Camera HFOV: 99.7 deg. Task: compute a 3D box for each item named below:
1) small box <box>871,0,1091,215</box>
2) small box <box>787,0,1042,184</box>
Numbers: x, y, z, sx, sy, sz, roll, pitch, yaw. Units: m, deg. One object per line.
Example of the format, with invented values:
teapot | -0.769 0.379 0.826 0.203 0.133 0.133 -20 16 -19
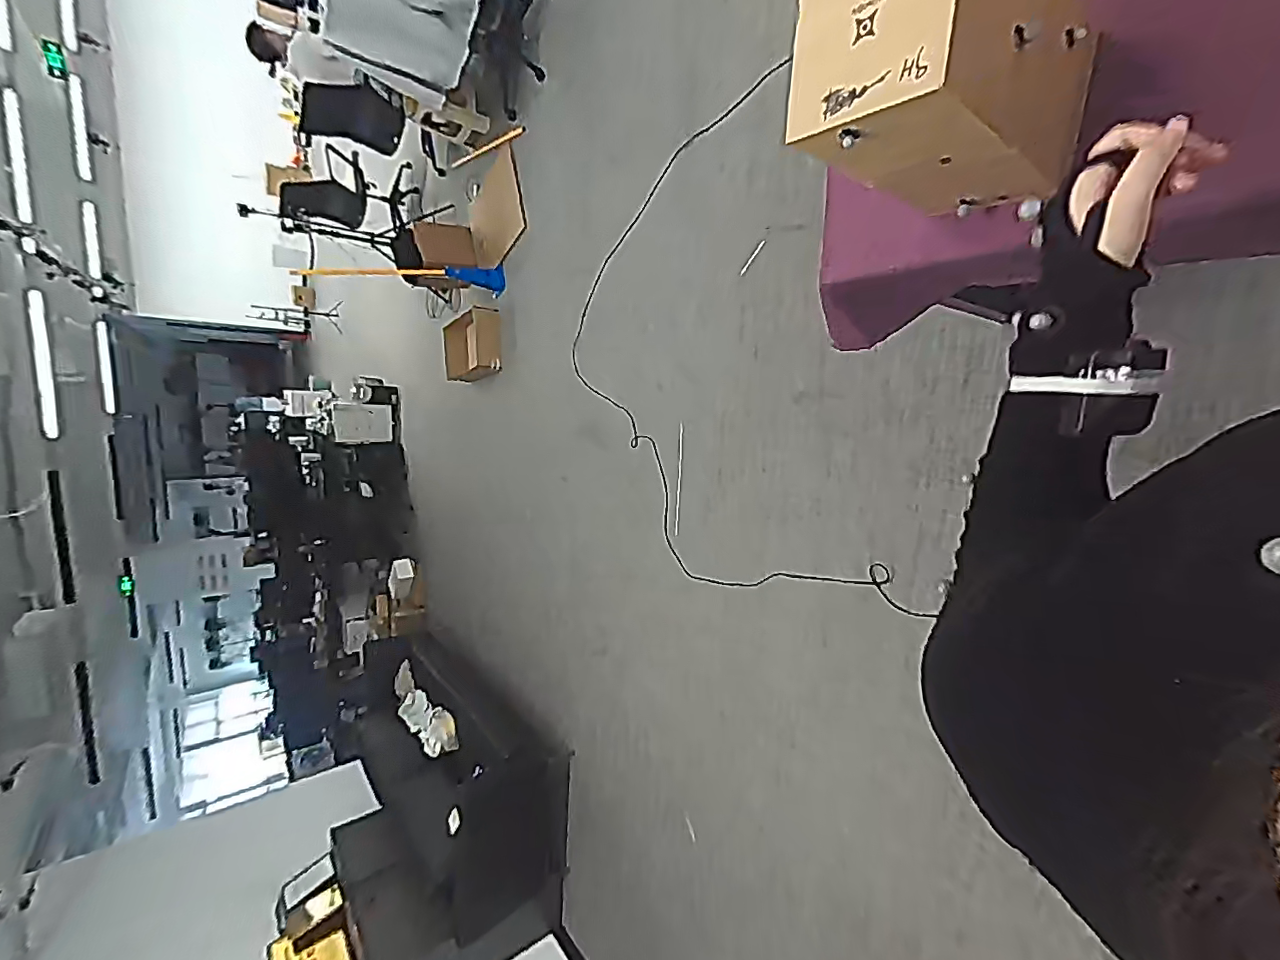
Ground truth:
small box | 0.411 -0.446 0.654 0.168 0.176 0.179 18 108 51
small box | 0.280 -0.436 0.554 0.168 0.176 0.179 18 106 52
